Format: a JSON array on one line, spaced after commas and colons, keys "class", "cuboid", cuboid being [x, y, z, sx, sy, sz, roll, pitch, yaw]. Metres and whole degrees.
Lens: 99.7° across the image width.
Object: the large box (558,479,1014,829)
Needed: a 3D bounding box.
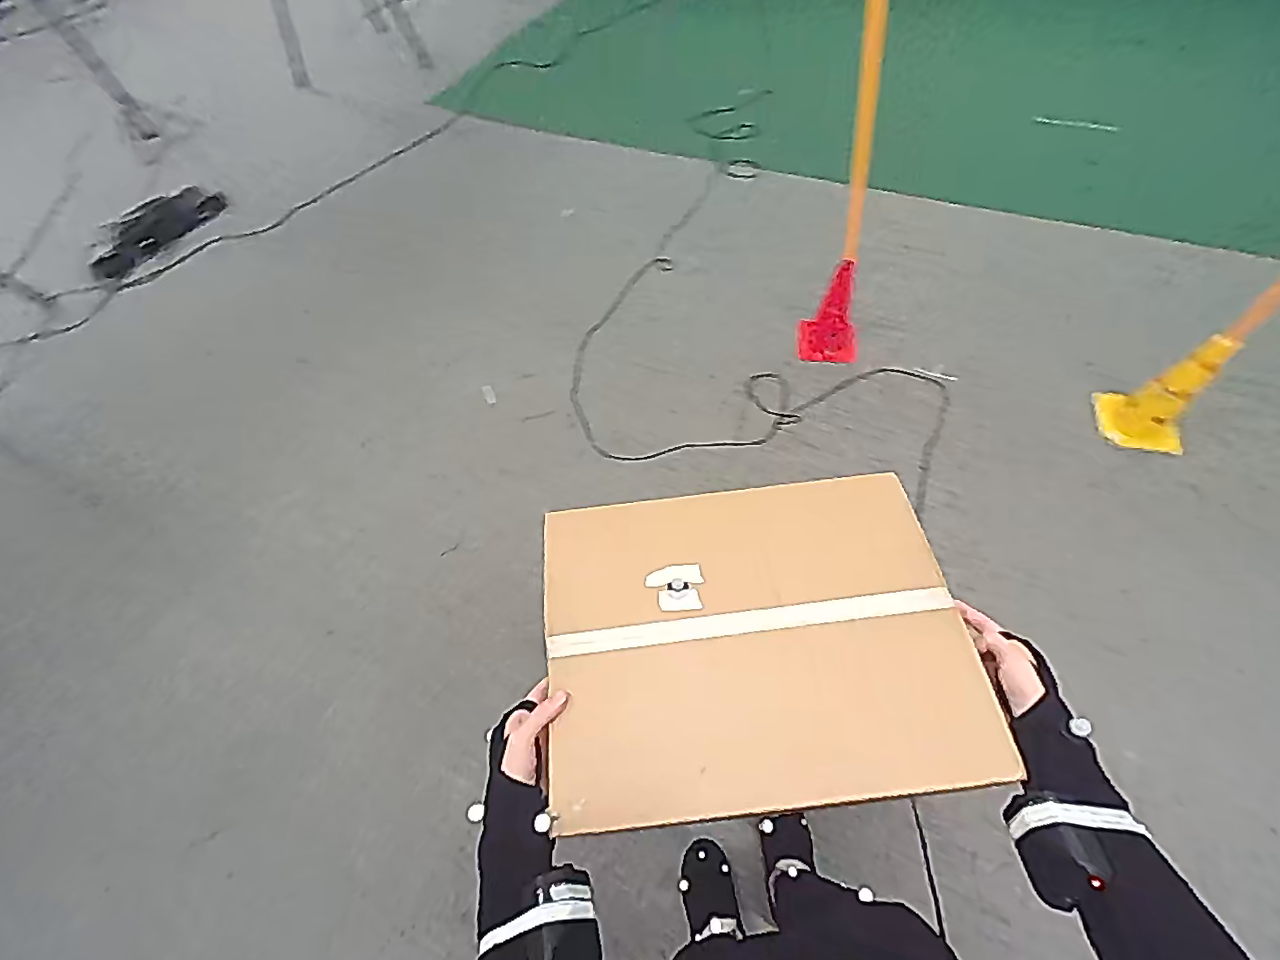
[{"class": "large box", "cuboid": [0.129, 0.229, 0.673, 0.408, 0.320, 0.320, -7, 56, 1]}]
